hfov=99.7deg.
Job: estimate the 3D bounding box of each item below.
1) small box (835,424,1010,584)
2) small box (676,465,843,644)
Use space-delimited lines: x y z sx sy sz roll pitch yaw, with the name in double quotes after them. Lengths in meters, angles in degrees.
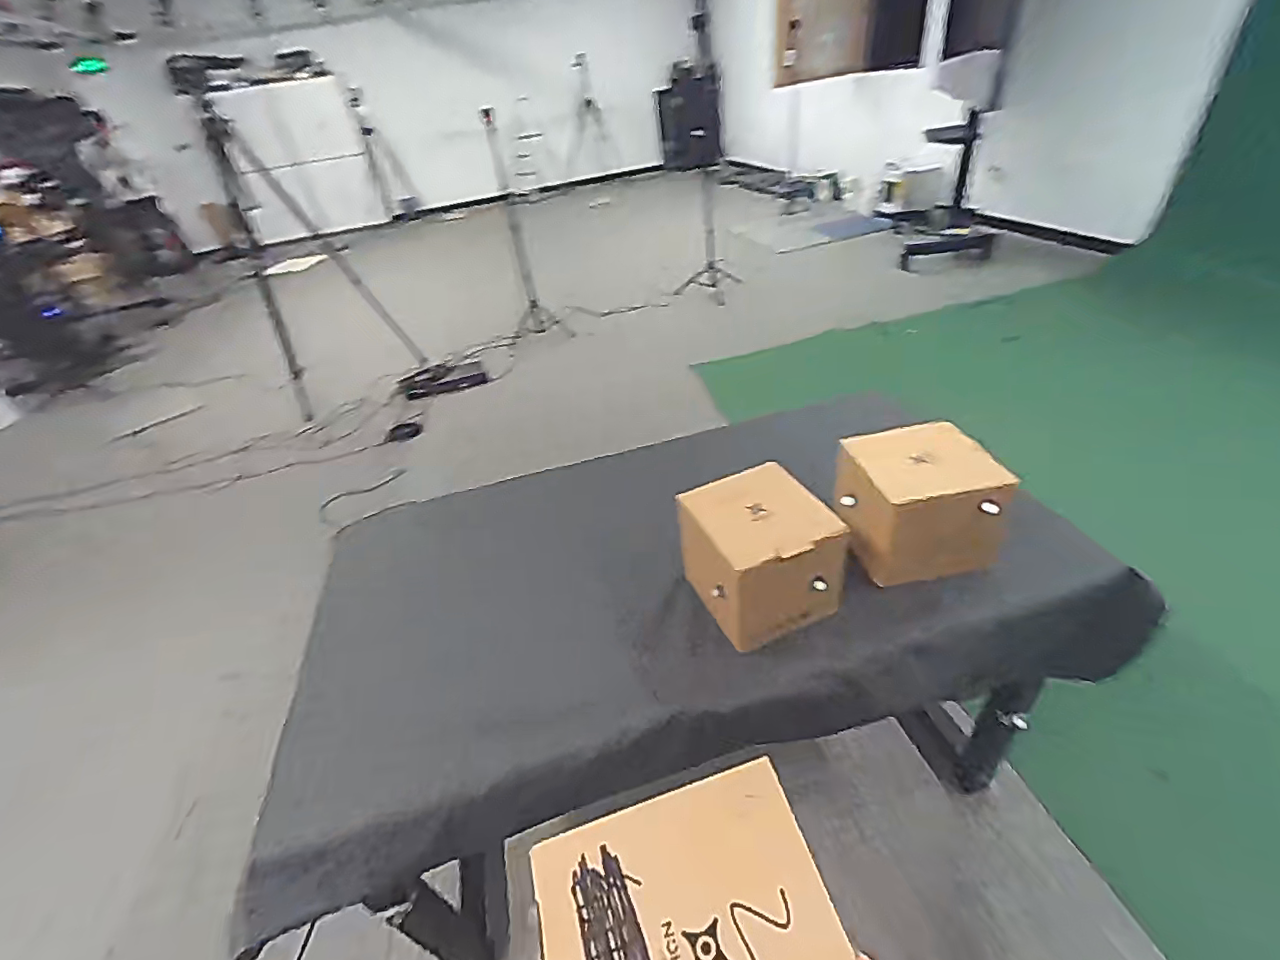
0.412 0.039 0.828 0.179 0.176 0.168 -10 36 -2 "small box"
0.167 0.111 0.784 0.168 0.176 0.179 -19 36 -15 "small box"
